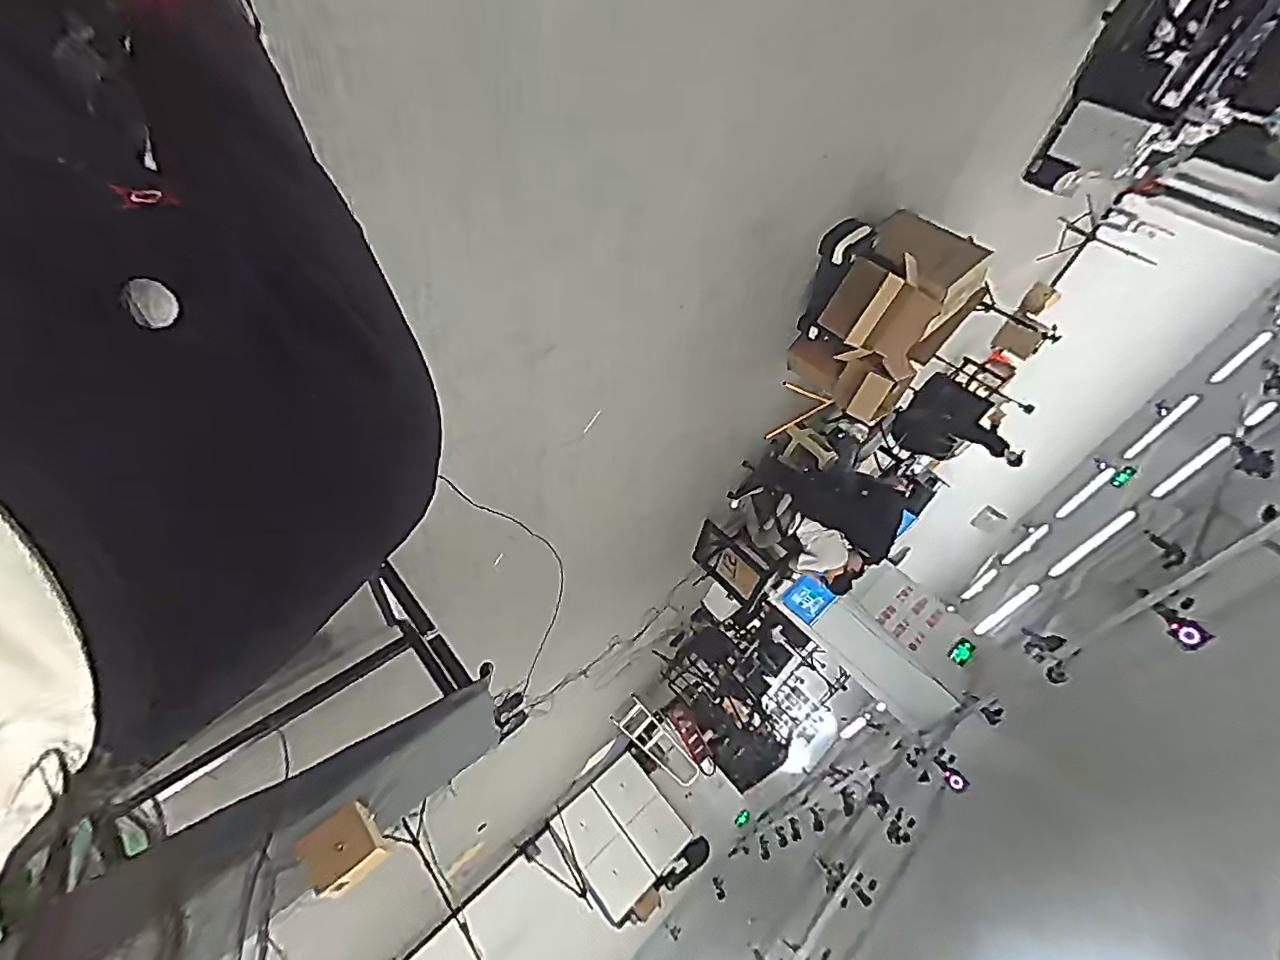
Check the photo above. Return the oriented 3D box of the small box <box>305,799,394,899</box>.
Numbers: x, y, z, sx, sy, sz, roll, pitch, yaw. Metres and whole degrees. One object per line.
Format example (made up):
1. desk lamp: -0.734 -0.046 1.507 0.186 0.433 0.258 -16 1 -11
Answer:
1. small box: -0.881 1.114 1.635 0.179 0.176 0.168 -33 152 -31
